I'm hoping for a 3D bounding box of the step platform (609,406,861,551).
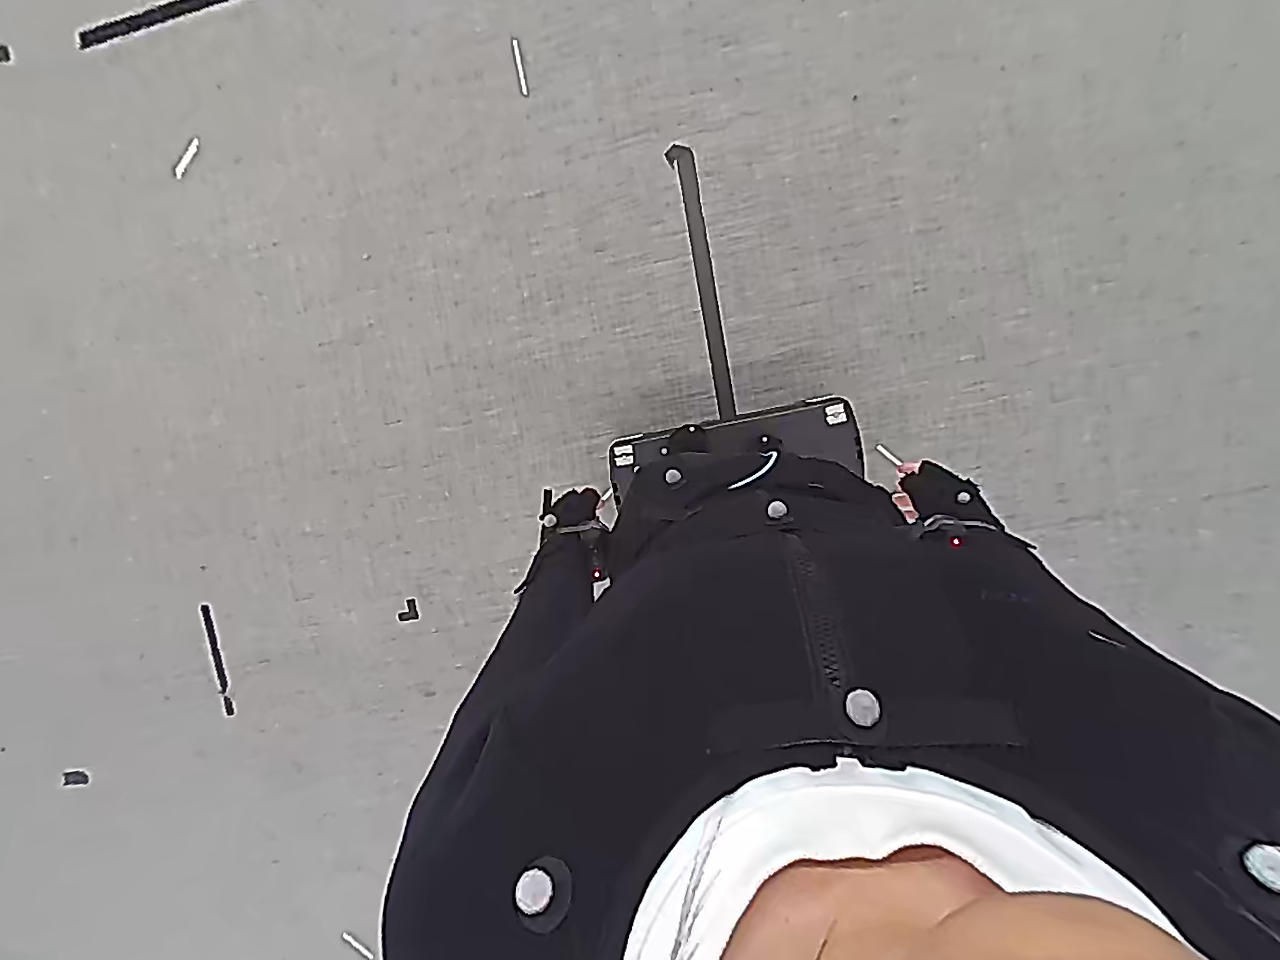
[{"bbox_3d":[0.255,-0.003,1.532,0.684,0.204,0.286,-12,95,6],"label":"step platform"}]
